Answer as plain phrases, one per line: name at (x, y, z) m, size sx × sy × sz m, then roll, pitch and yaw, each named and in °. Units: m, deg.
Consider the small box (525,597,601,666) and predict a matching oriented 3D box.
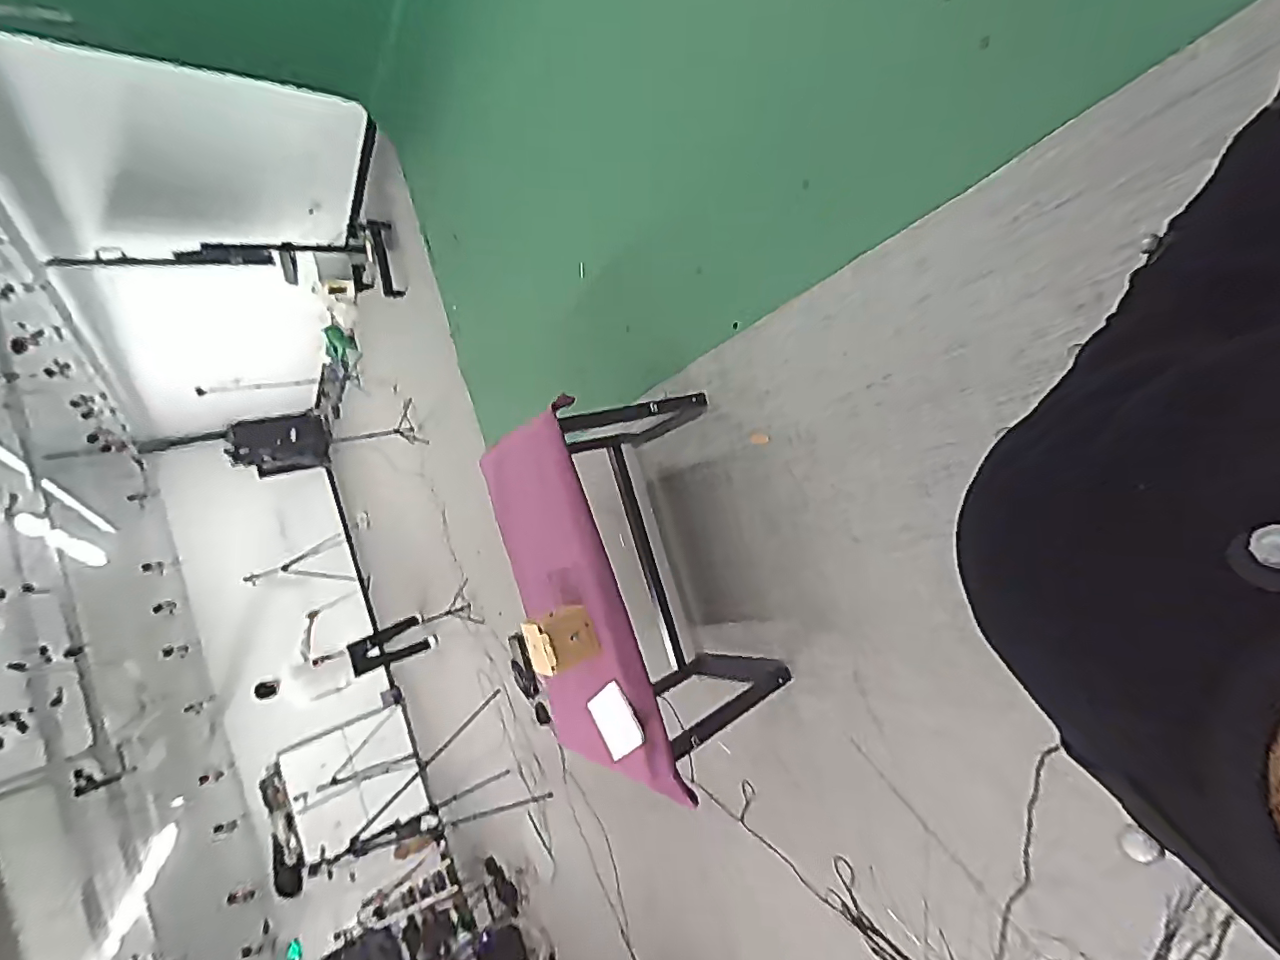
small box at (-0.244, 0.488, 1.760) m, size 0.179 × 0.176 × 0.168 m, roll -19°, pitch 87°, yaw 53°
